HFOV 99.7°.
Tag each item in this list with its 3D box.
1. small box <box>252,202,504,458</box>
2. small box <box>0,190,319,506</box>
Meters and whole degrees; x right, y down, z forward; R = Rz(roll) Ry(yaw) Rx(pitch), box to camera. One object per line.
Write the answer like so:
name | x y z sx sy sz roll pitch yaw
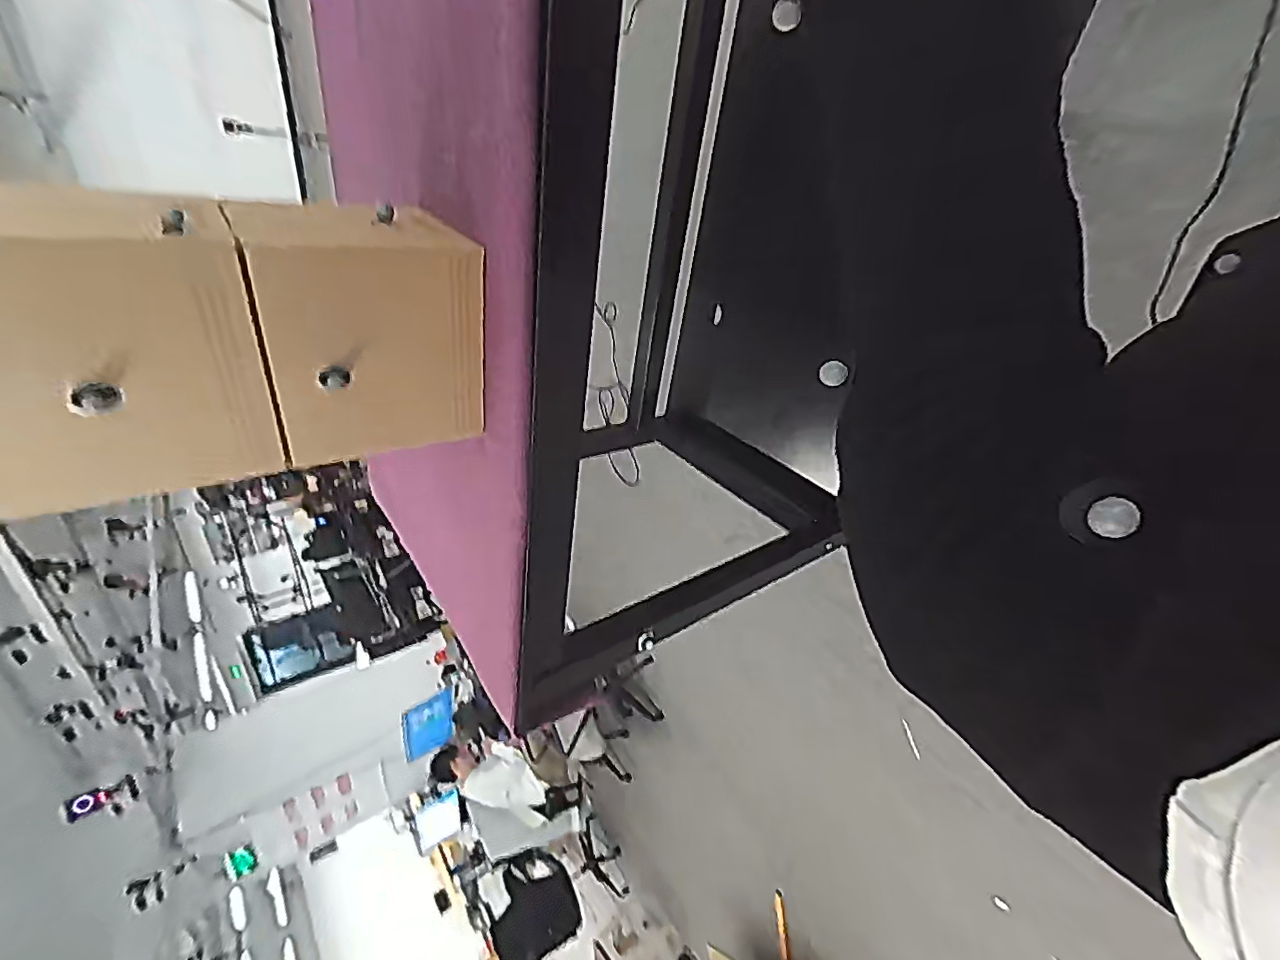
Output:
small box | -0.238 -0.148 0.511 0.168 0.176 0.179 42 135 39
small box | -0.370 -0.112 0.420 0.168 0.176 0.179 42 136 39
